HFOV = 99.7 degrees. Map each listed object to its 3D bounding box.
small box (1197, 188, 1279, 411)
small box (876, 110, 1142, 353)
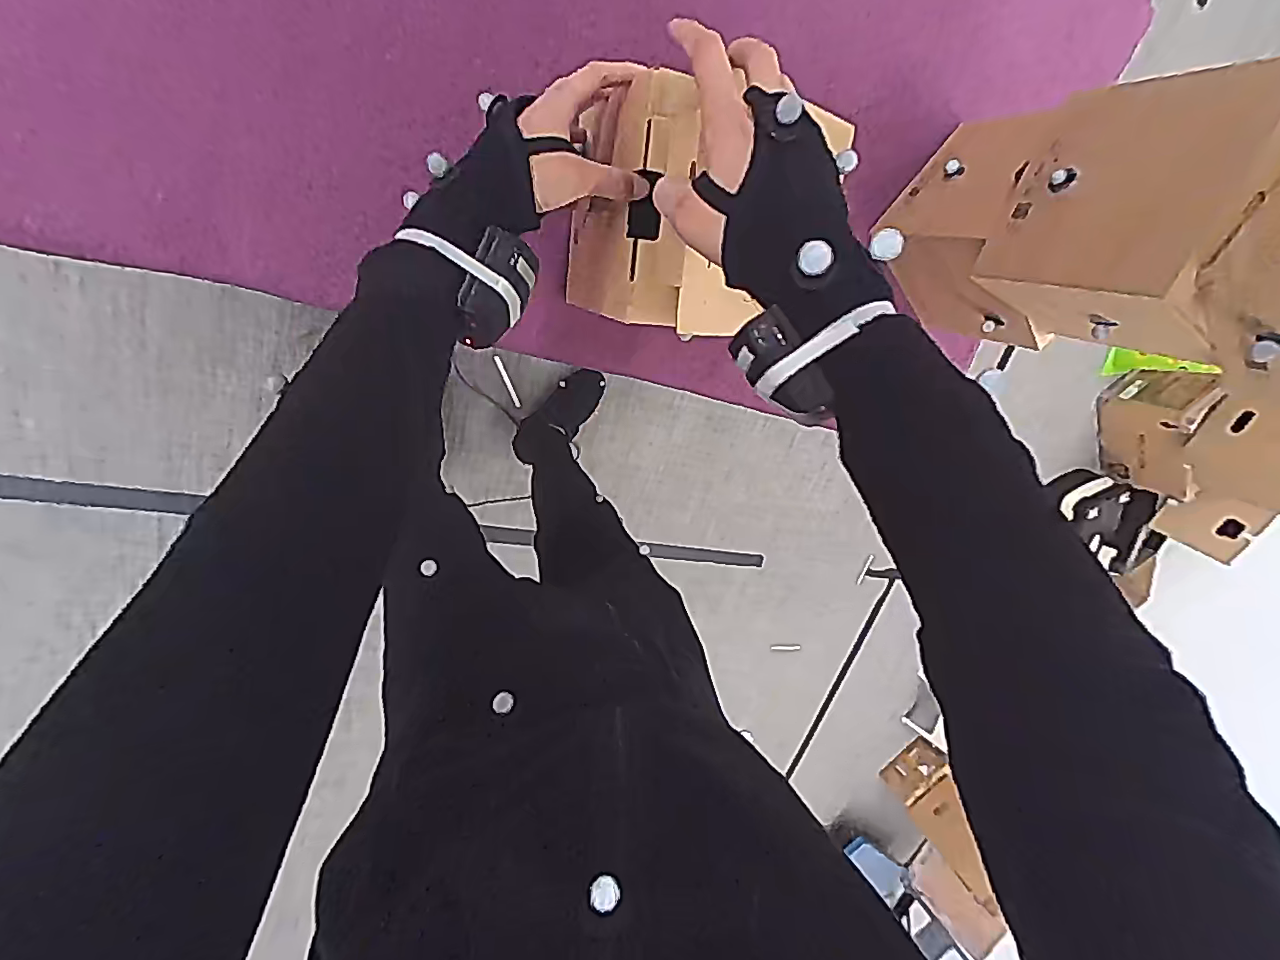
[{"bbox_3d":[0.534,-0.140,0.352,0.168,0.176,0.179,33,100,-31],"label":"small box"},{"bbox_3d":[0.416,-0.280,0.625,0.179,0.176,0.168,38,96,-33],"label":"small box"}]
